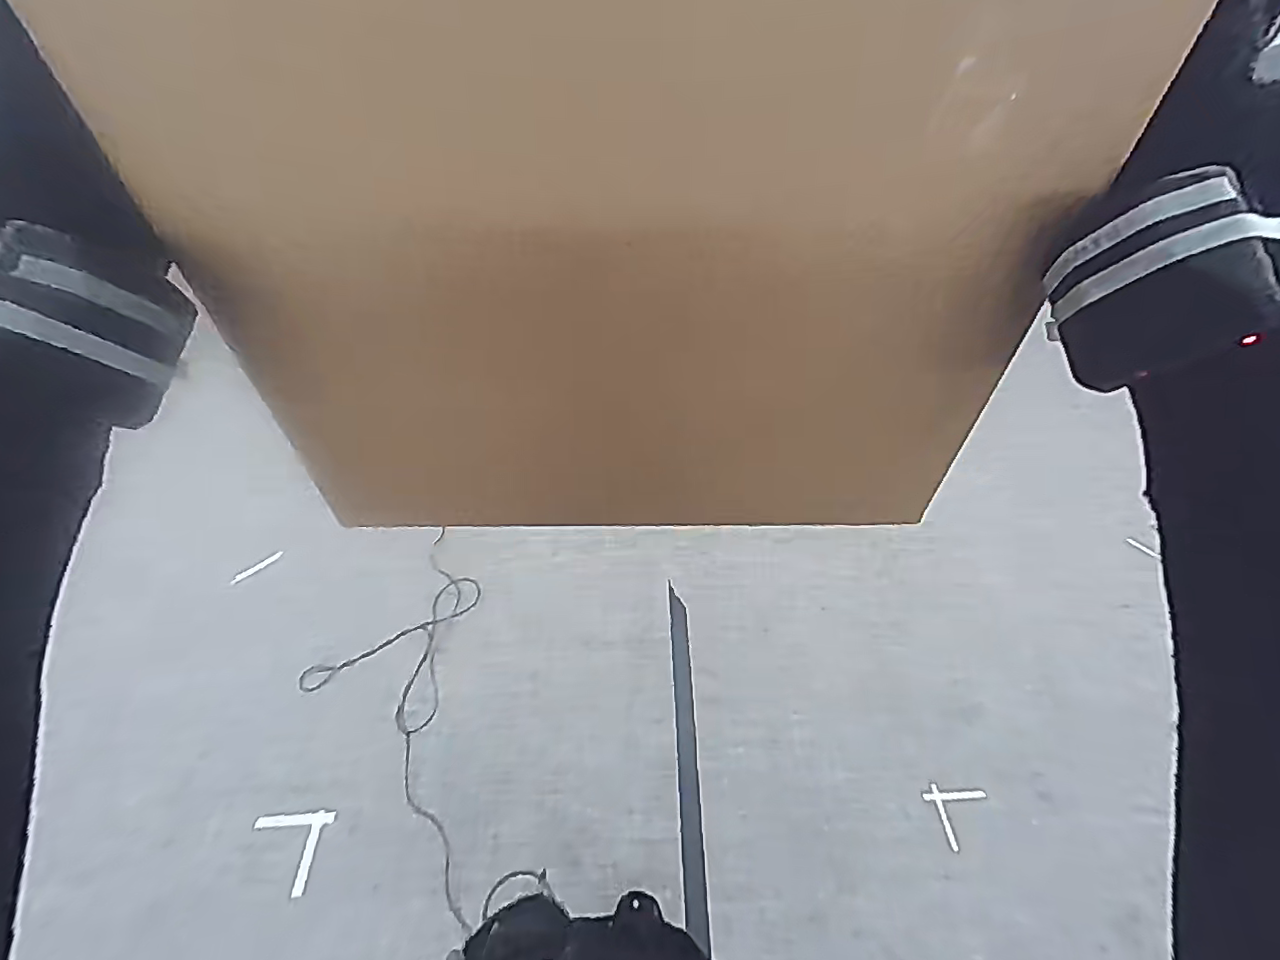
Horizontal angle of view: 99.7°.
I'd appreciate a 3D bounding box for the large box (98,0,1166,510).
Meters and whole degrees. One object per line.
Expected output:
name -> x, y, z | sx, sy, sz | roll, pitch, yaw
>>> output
large box -> -0.005, -0.191, 0.390 | 0.408, 0.320, 0.320 | 0, 46, -1
